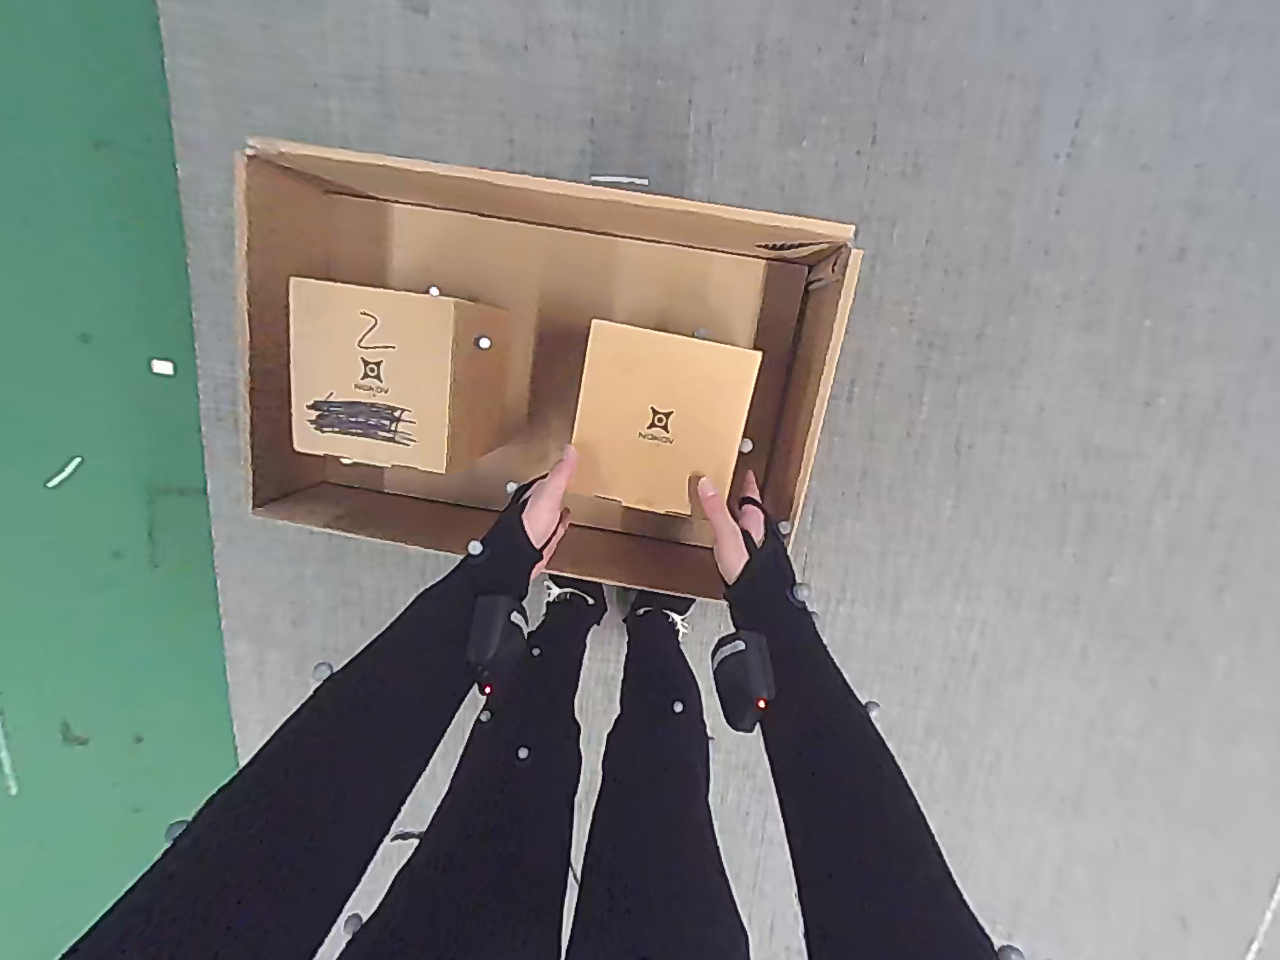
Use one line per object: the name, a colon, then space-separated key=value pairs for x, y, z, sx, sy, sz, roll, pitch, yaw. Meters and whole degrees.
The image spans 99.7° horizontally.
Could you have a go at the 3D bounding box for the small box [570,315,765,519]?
small box: x=0.028 y=-0.077 z=0.606 sx=0.168 sy=0.176 sz=0.179 roll=11 pitch=105 yaw=1
